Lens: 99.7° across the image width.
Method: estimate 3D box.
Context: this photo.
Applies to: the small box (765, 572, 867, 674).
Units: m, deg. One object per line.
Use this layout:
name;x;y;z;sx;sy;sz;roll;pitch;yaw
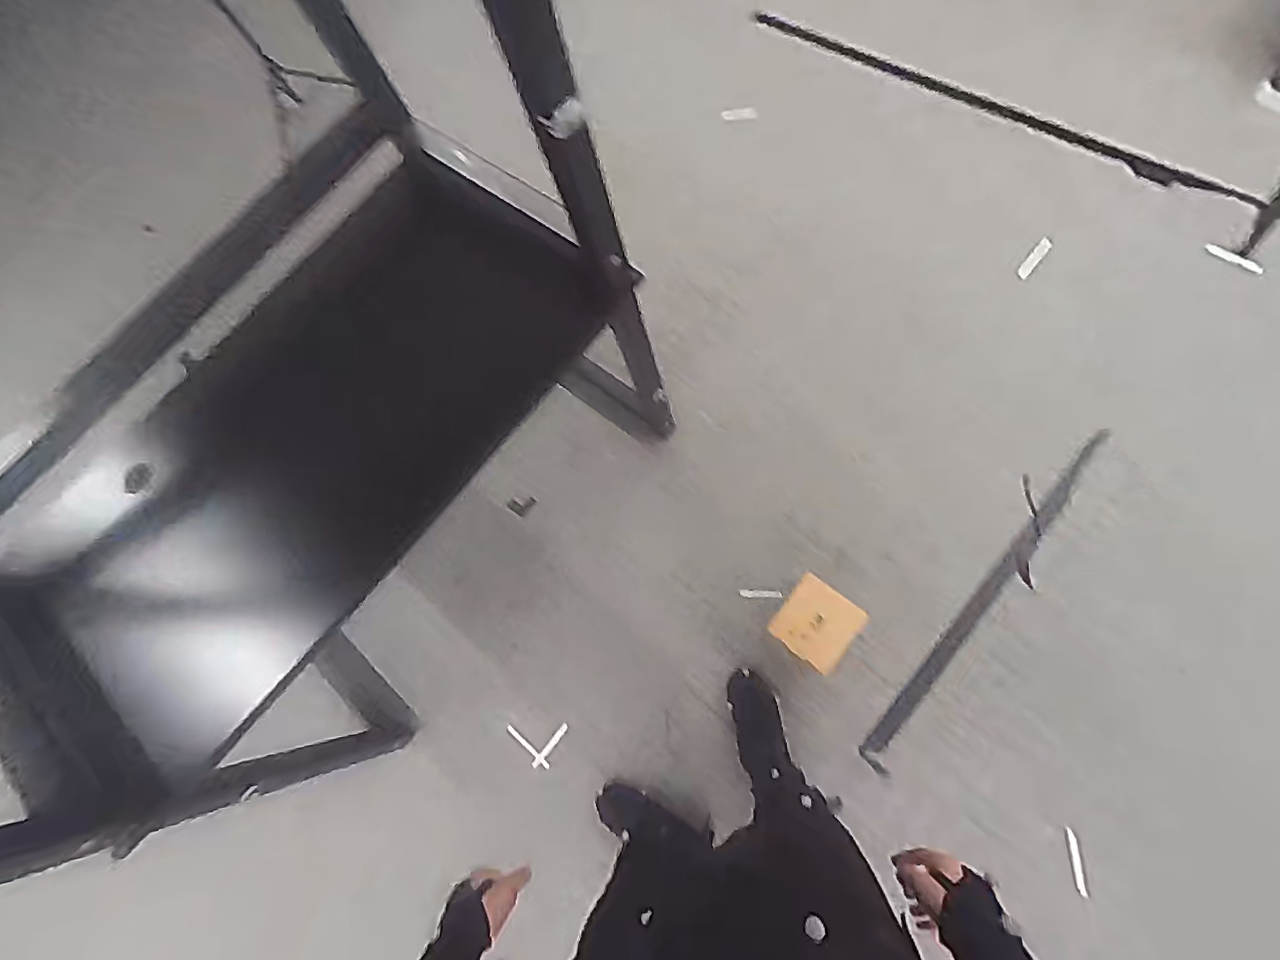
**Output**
small box;0.421;0.350;1.332;0.168;0.176;0.179;37;84;17
